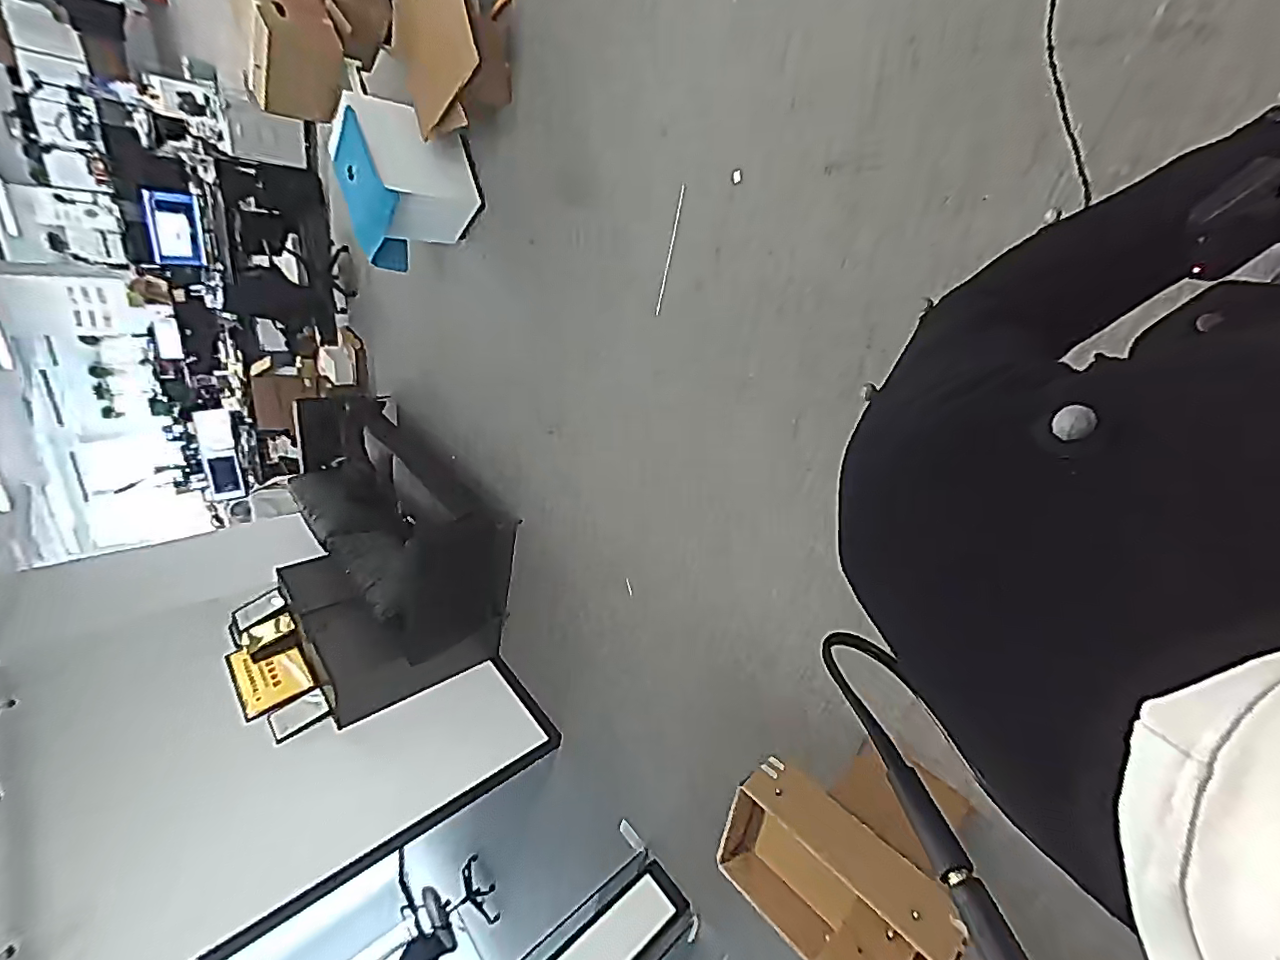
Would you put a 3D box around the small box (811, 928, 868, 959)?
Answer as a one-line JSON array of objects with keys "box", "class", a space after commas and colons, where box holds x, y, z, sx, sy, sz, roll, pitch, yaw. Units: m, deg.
[{"box": [0.489, 1.267, 1.327, 0.168, 0.176, 0.179, 33, 125, 36], "class": "small box"}]

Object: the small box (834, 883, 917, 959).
[{"box": [0.608, 1.234, 1.436, 0.168, 0.176, 0.179, 29, 122, 38], "class": "small box"}]
